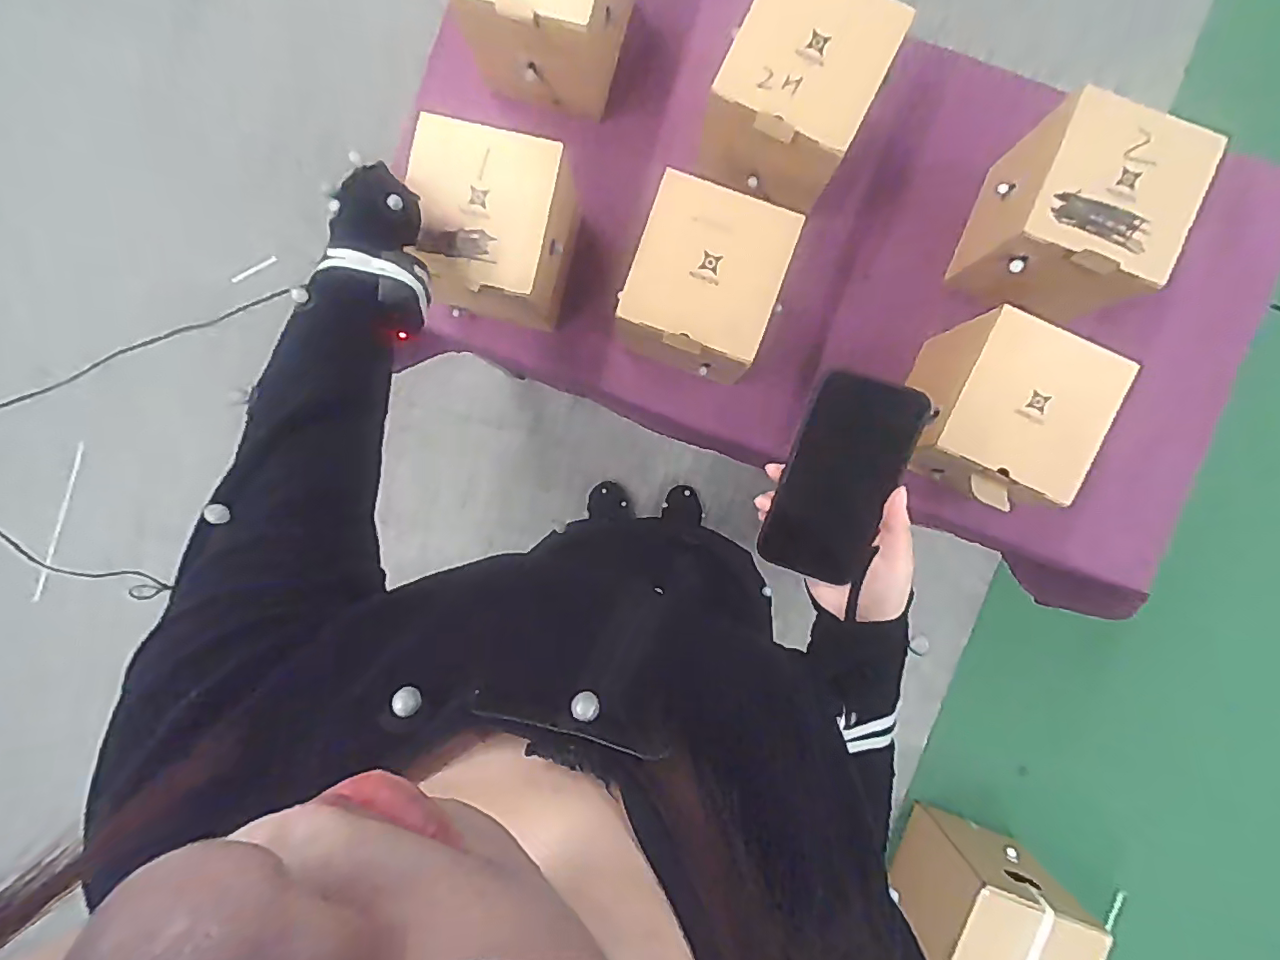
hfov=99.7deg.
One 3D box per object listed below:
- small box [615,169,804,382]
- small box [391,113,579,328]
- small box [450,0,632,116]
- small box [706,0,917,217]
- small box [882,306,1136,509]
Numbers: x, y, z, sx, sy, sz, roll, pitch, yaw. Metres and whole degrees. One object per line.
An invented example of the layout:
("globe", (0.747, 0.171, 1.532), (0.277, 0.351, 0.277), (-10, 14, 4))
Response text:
("small box", (0.079, -0.238, 0.678), (0.168, 0.176, 0.179), (21, 91, 0))
("small box", (-0.180, -0.308, 0.681), (0.168, 0.176, 0.179), (13, 91, 0))
("small box", (-0.109, -0.599, 0.669), (0.168, 0.176, 0.179), (16, 93, 0))
("small box", (0.191, -0.468, 0.666), (0.168, 0.176, 0.179), (27, 93, 1))
("small box", (0.436, -0.082, 0.674), (0.168, 0.176, 0.179), (25, 93, 1))
